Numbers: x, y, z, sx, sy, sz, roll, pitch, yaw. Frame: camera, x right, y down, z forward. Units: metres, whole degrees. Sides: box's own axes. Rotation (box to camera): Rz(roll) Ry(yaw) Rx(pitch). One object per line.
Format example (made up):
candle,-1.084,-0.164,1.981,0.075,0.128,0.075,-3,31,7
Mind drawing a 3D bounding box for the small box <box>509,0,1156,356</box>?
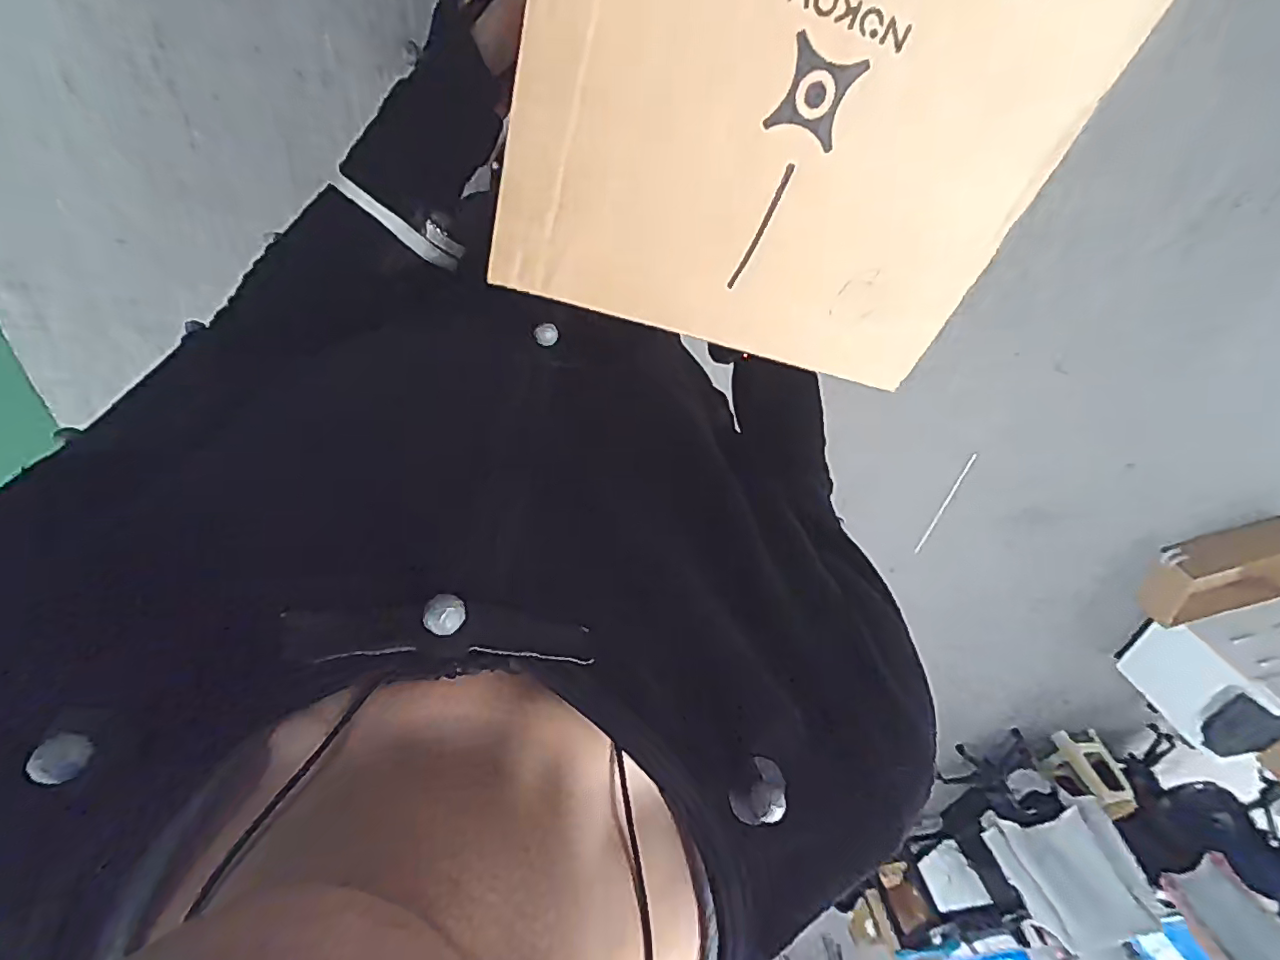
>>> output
small box,0.051,-0.180,0.210,0.168,0.176,0.179,11,128,-15
